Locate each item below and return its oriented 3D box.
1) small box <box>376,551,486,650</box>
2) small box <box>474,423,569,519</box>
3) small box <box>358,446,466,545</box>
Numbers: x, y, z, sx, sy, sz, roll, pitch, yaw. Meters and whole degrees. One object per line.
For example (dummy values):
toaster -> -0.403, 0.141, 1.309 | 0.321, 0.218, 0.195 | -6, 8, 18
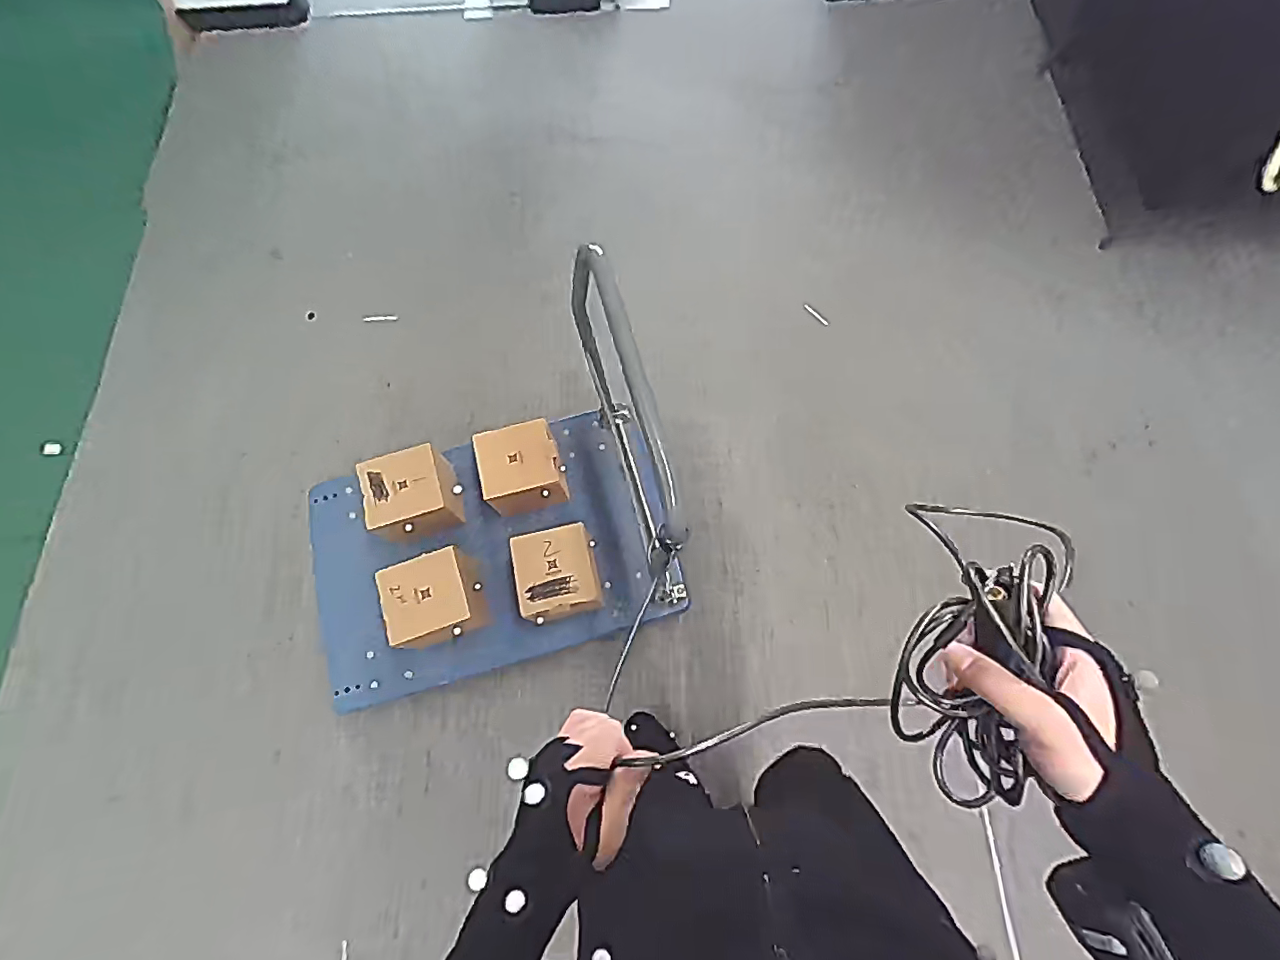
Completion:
small box -> -0.461, 0.276, 1.221 | 0.179, 0.176, 0.168 | -19, 72, -5
small box -> -0.284, -0.016, 1.318 | 0.179, 0.176, 0.168 | -14, 72, -4
small box -> -0.542, 0.044, 1.299 | 0.179, 0.176, 0.168 | -17, 73, -5
